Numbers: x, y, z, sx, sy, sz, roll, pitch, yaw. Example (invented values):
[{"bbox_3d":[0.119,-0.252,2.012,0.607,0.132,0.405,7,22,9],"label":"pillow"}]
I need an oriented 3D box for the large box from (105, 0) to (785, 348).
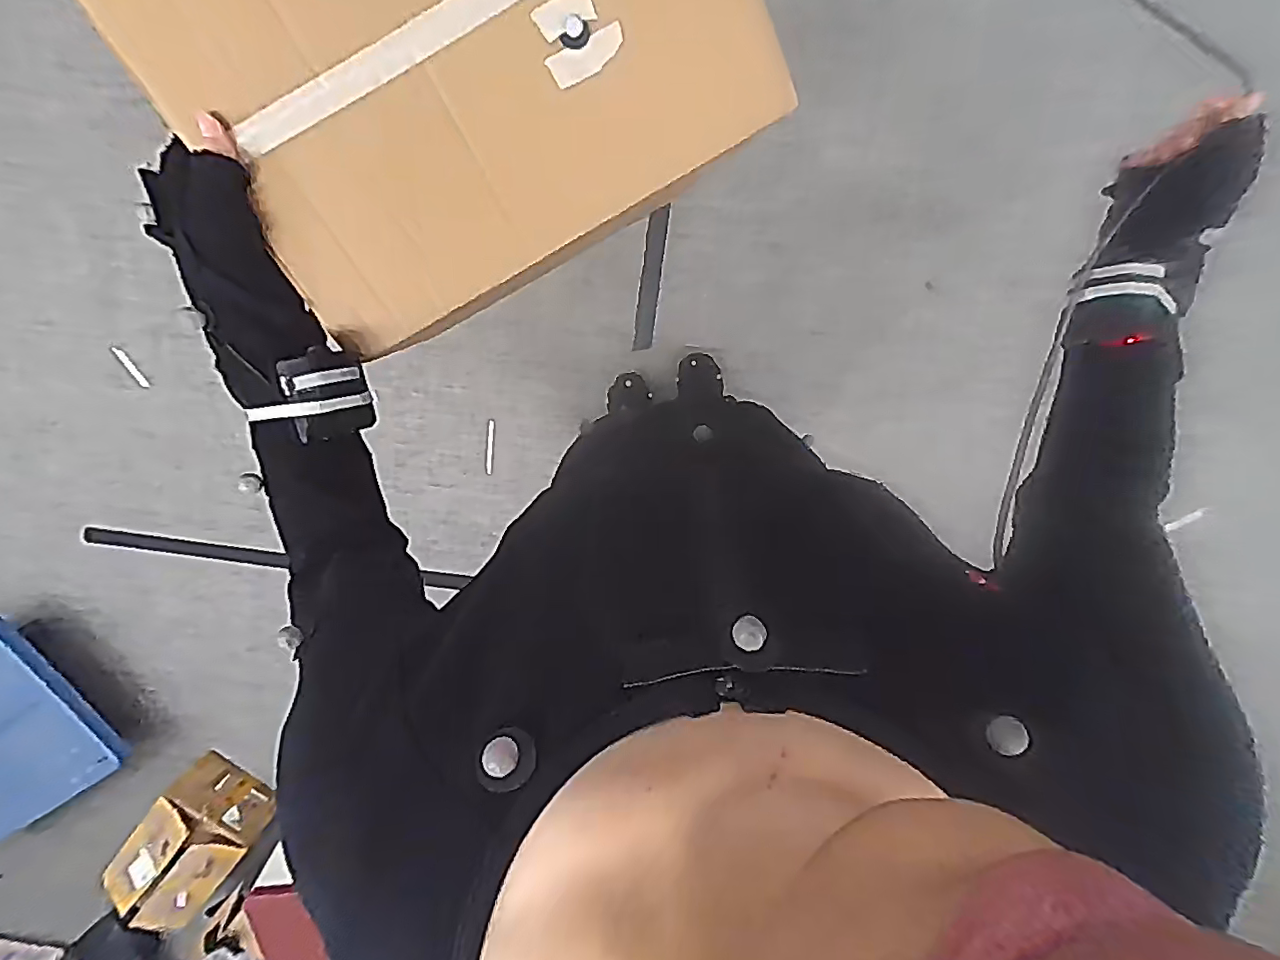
[{"bbox_3d":[-0.149,-0.369,0.522,0.408,0.320,0.320,-30,110,0],"label":"large box"}]
